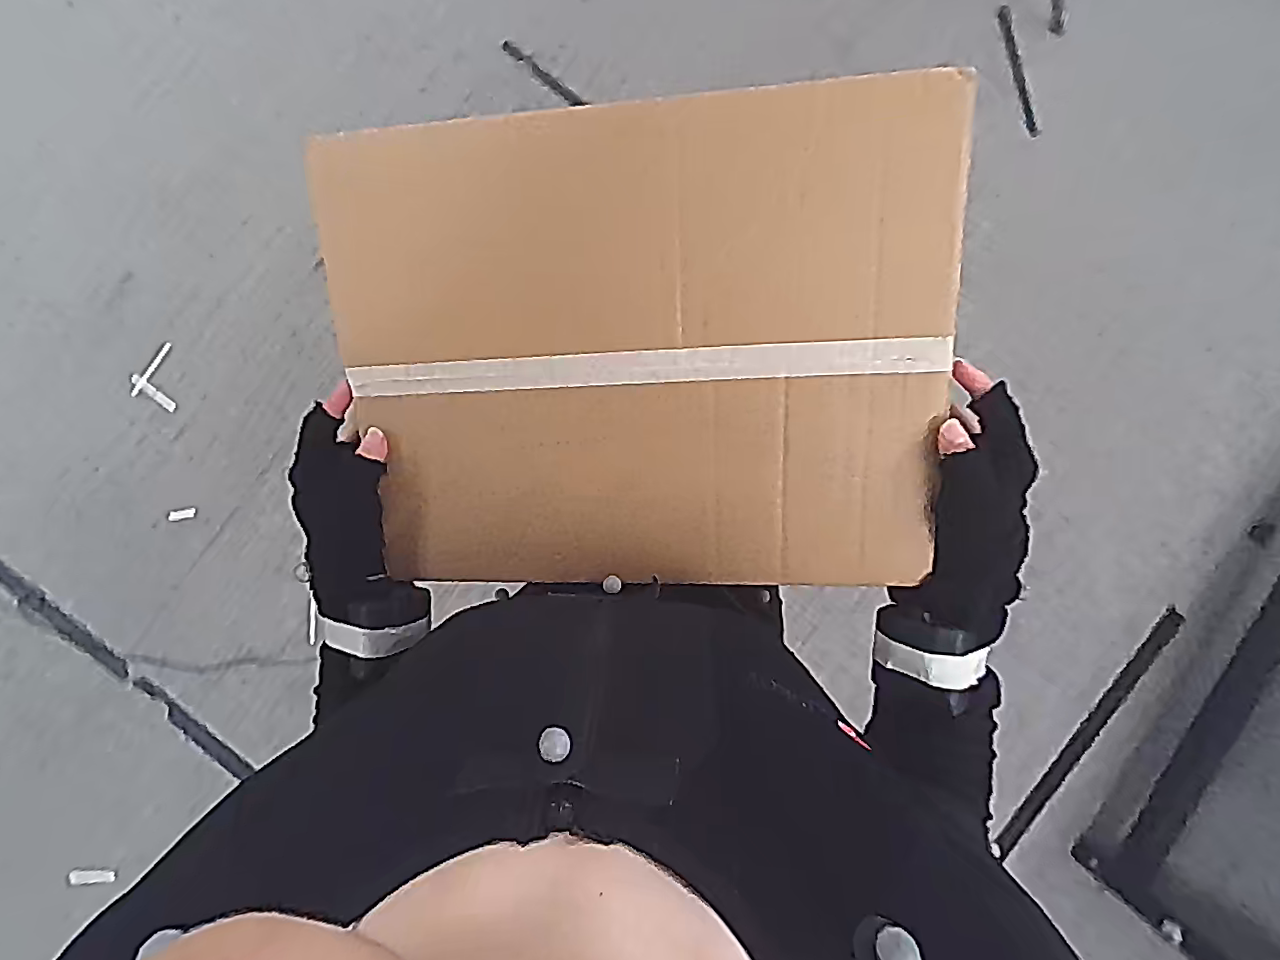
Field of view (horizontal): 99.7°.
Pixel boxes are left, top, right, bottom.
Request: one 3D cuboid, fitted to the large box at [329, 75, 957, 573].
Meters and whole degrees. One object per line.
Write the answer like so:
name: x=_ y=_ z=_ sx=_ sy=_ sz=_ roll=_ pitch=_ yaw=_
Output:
large box: x=0.011 y=-0.117 z=0.515 sx=0.408 sy=0.320 sz=0.320 roll=-1 pitch=106 yaw=7
